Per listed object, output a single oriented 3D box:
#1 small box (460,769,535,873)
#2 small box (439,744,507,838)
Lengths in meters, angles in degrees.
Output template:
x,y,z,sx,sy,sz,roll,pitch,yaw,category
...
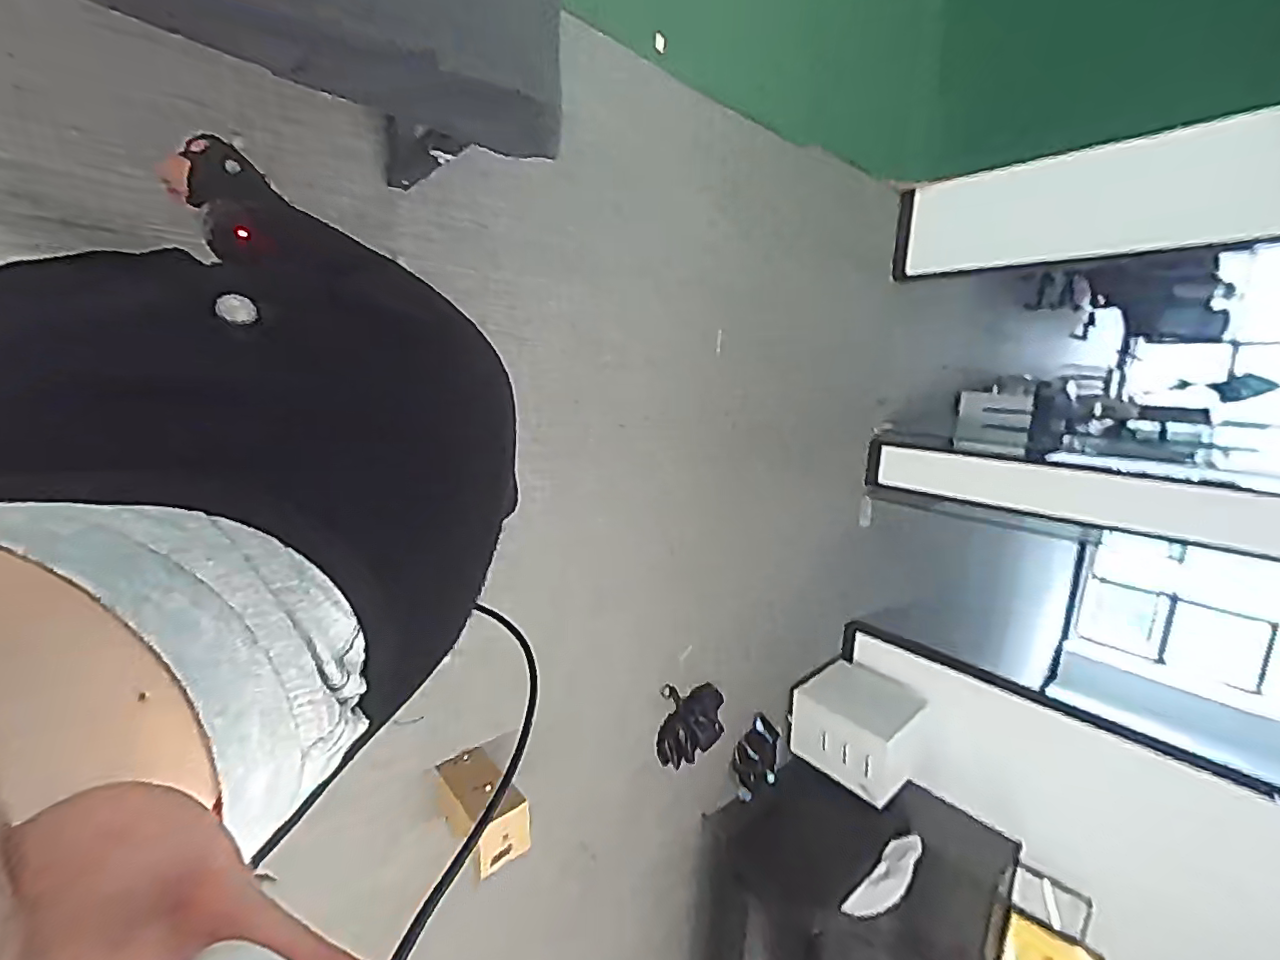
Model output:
x,y,z,sx,sy,sz,roll,pitch,yaw,category
-0.438,1.038,1.663,0.168,0.176,0.179,-12,107,-40,small box
-0.548,1.017,1.784,0.168,0.176,0.179,-12,106,-40,small box
